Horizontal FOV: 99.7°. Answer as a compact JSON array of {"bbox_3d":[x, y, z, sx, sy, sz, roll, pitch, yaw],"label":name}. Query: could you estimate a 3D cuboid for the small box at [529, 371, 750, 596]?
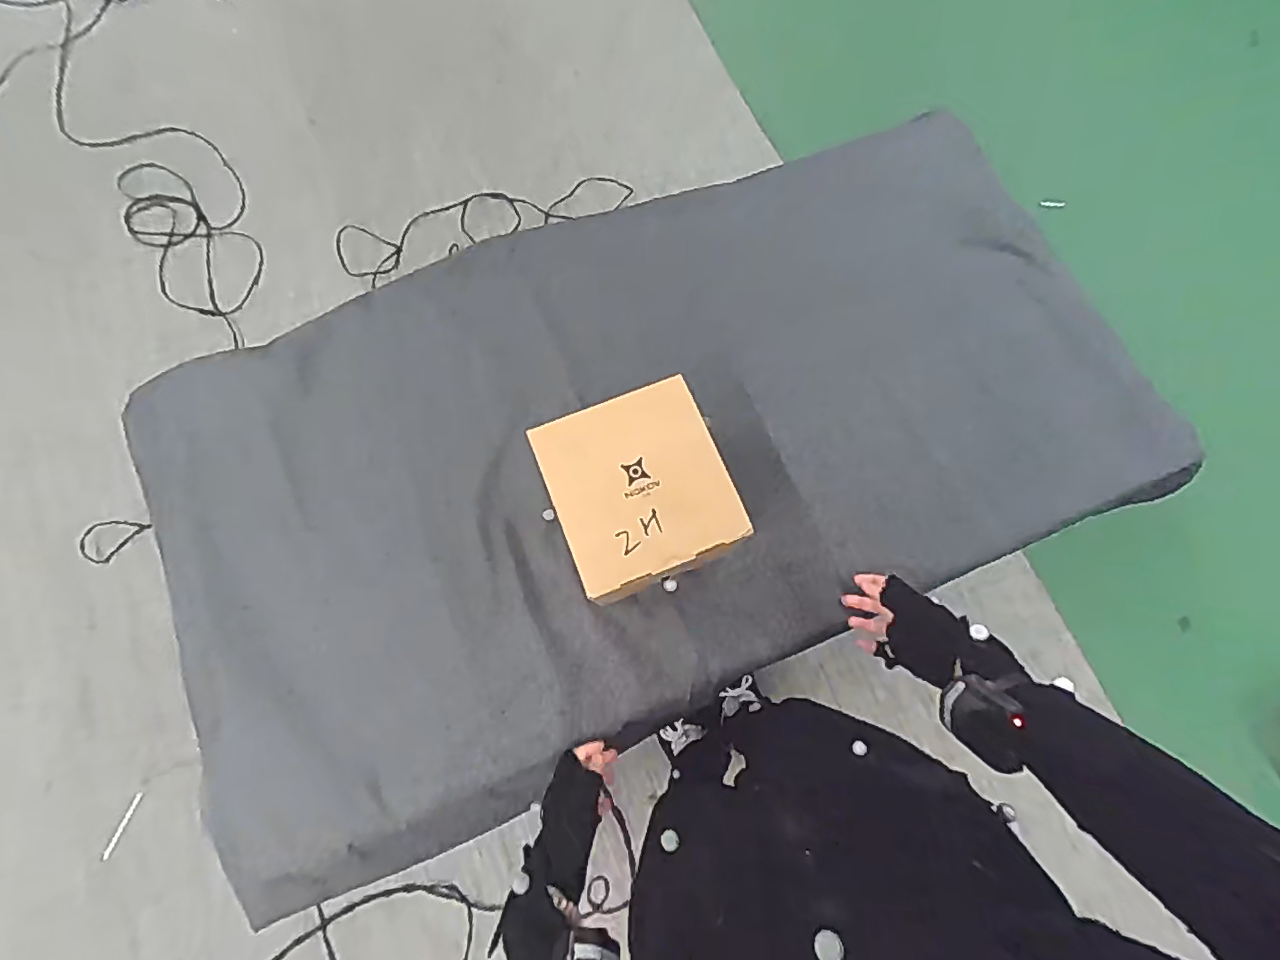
[{"bbox_3d":[-0.005,0.016,0.588,0.168,0.176,0.179,-22,77,-5],"label":"small box"}]
